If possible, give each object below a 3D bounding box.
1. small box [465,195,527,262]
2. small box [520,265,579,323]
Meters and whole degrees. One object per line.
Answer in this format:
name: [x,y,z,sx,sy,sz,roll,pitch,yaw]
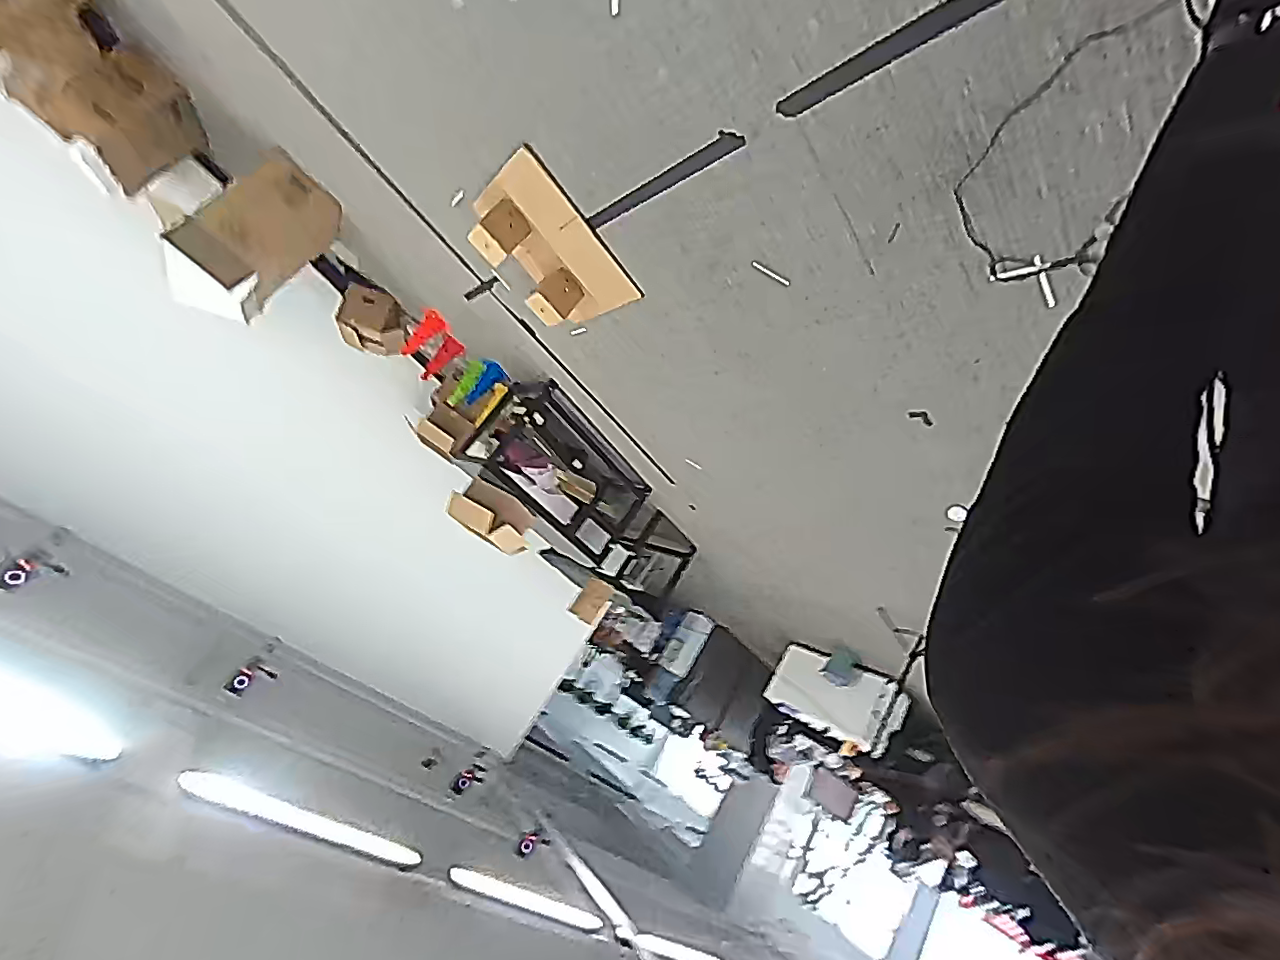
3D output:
small box: [-0.612,-1.071,2.305,0.168,0.176,0.179,44,158,-25]
small box: [-0.408,-0.849,2.470,0.168,0.176,0.179,45,158,-29]
